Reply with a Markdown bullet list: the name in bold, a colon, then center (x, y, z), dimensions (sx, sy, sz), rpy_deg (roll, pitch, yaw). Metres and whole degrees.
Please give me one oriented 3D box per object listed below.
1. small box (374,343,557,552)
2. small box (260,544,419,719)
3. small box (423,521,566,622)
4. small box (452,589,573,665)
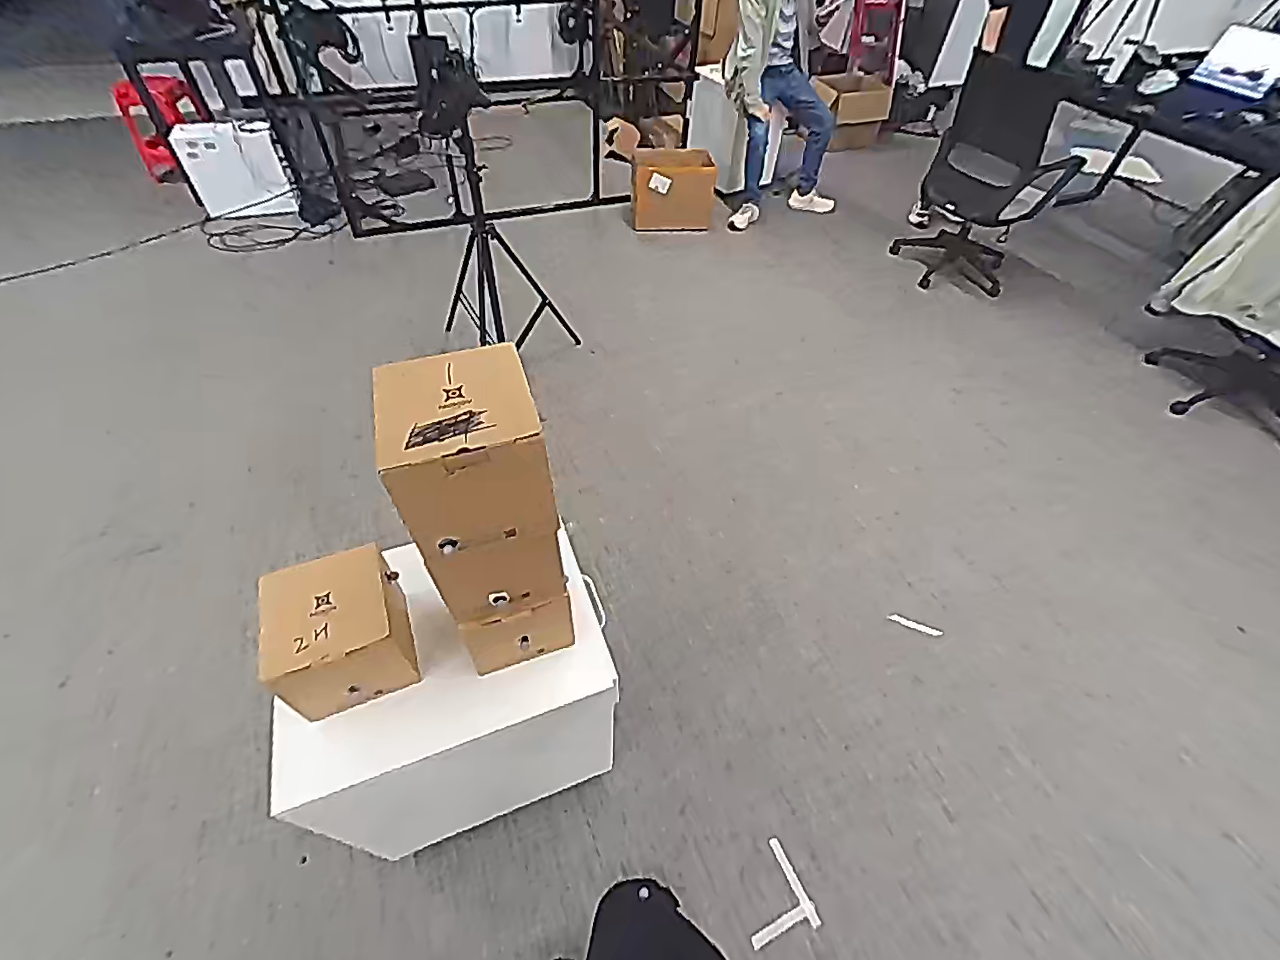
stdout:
- **small box**: center (-0.202, -0.033, 0.648), dimensions (0.168, 0.176, 0.179), rpy_deg (-14, 50, -13)
- **small box**: center (-0.457, 0.234, 0.835), dimensions (0.168, 0.176, 0.179), rpy_deg (-17, 53, -17)
- **small box**: center (-0.210, 0.072, 0.775), dimensions (0.168, 0.176, 0.179), rpy_deg (-15, 52, -14)
- **small box**: center (-0.213, 0.185, 0.893), dimensions (0.168, 0.176, 0.179), rpy_deg (-15, 53, -14)
